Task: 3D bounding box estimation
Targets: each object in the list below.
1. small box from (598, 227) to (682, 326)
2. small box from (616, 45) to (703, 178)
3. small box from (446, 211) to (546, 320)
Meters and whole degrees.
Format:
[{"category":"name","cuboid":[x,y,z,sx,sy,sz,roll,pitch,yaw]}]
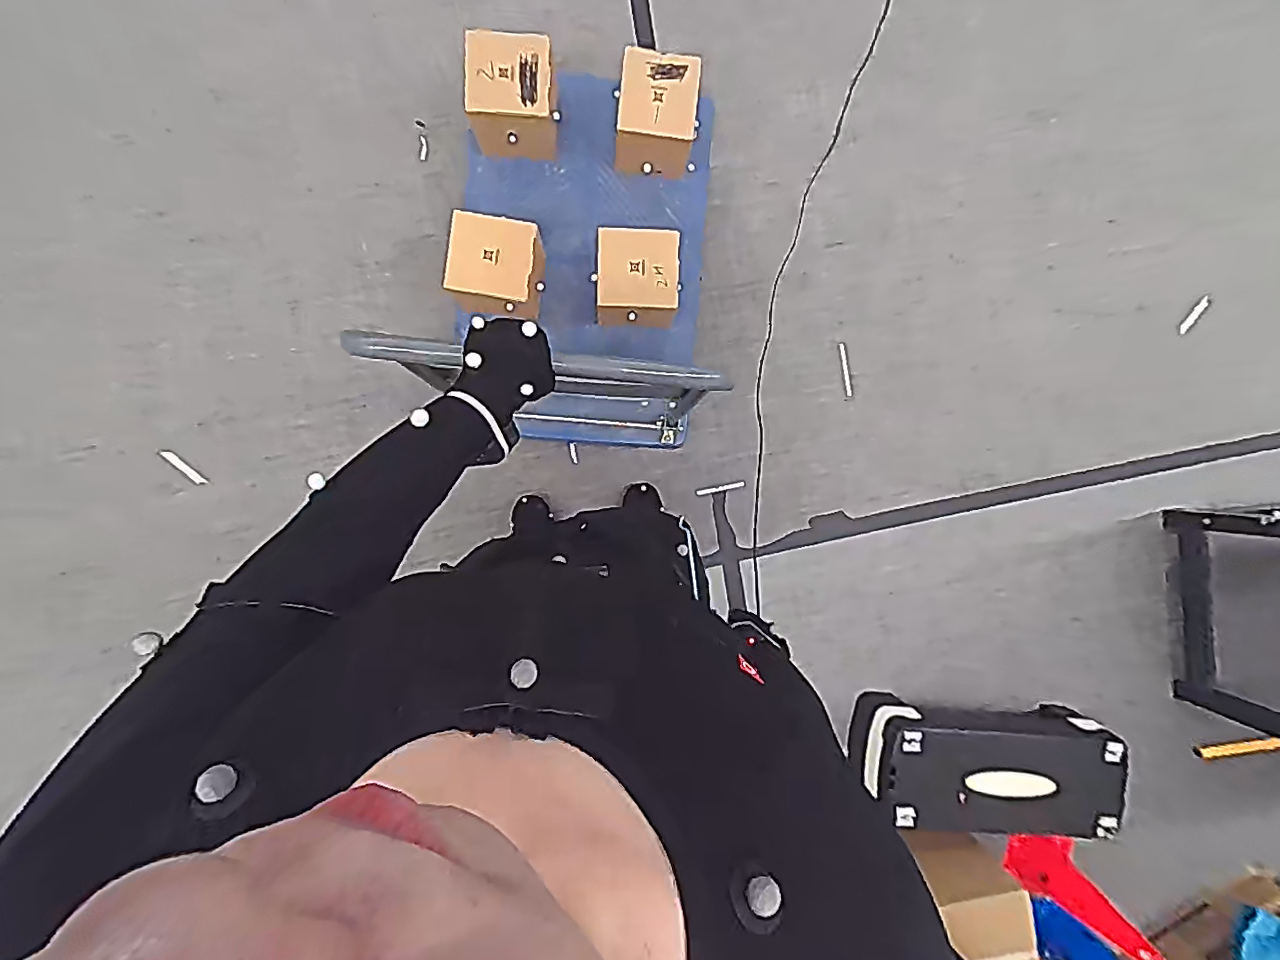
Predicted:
[{"category":"small box","cuboid":[-0.004,-0.453,1.225,0.179,0.176,0.168,1,92,-4]},{"category":"small box","cuboid":[0.037,-0.818,1.215,0.168,0.176,0.179,6,93,-4]},{"category":"small box","cuboid":[-0.313,-0.468,1.205,0.179,0.176,0.168,7,91,-6]}]
